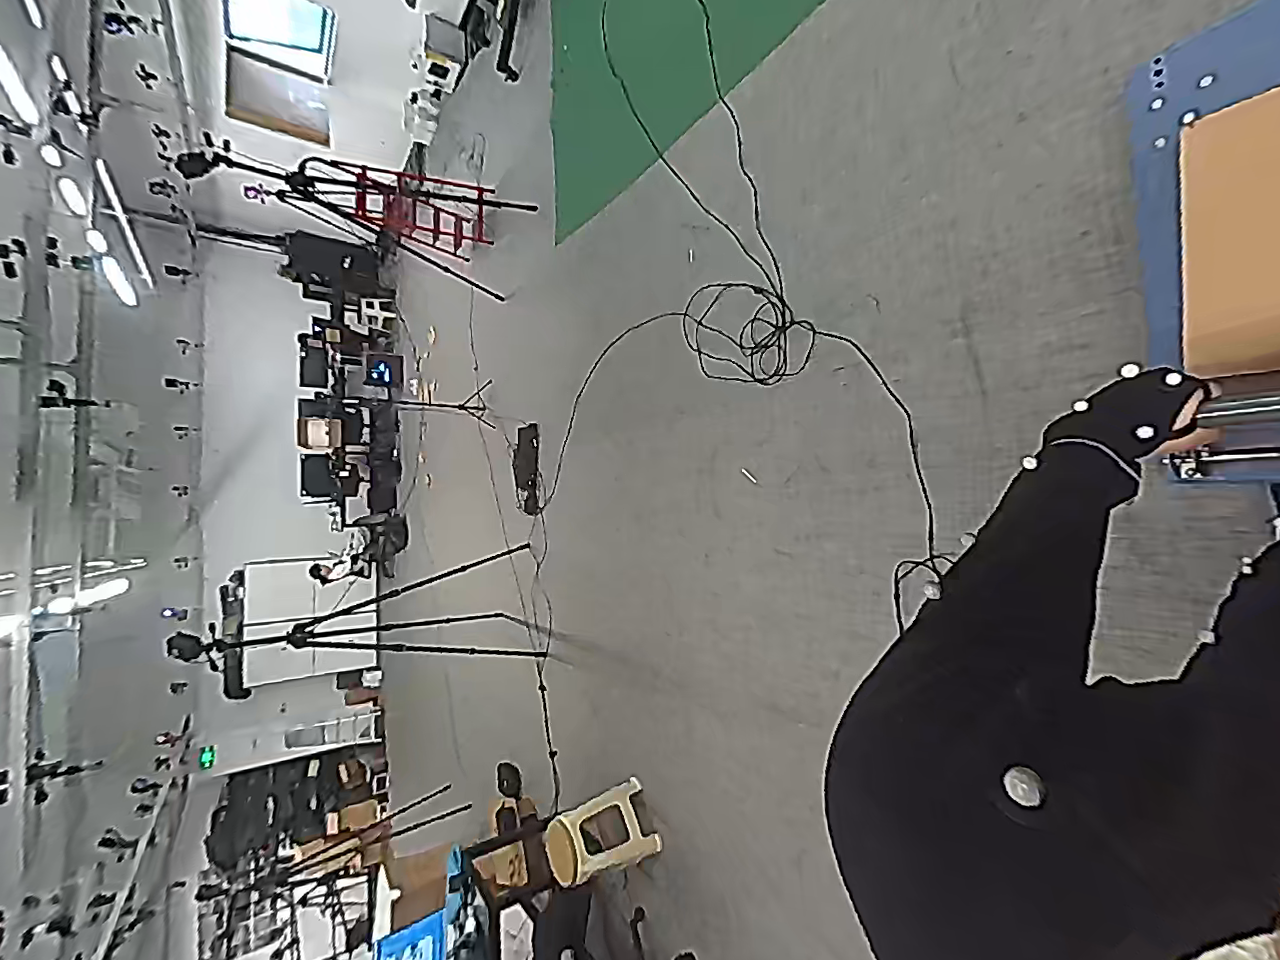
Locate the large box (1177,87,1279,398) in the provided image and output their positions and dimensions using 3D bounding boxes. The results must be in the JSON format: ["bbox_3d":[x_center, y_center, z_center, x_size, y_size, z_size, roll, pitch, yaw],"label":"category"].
[{"bbox_3d":[1.060,-0.356,0.806,0.320,0.320,0.408,-1,88,55],"label":"large box"}]
